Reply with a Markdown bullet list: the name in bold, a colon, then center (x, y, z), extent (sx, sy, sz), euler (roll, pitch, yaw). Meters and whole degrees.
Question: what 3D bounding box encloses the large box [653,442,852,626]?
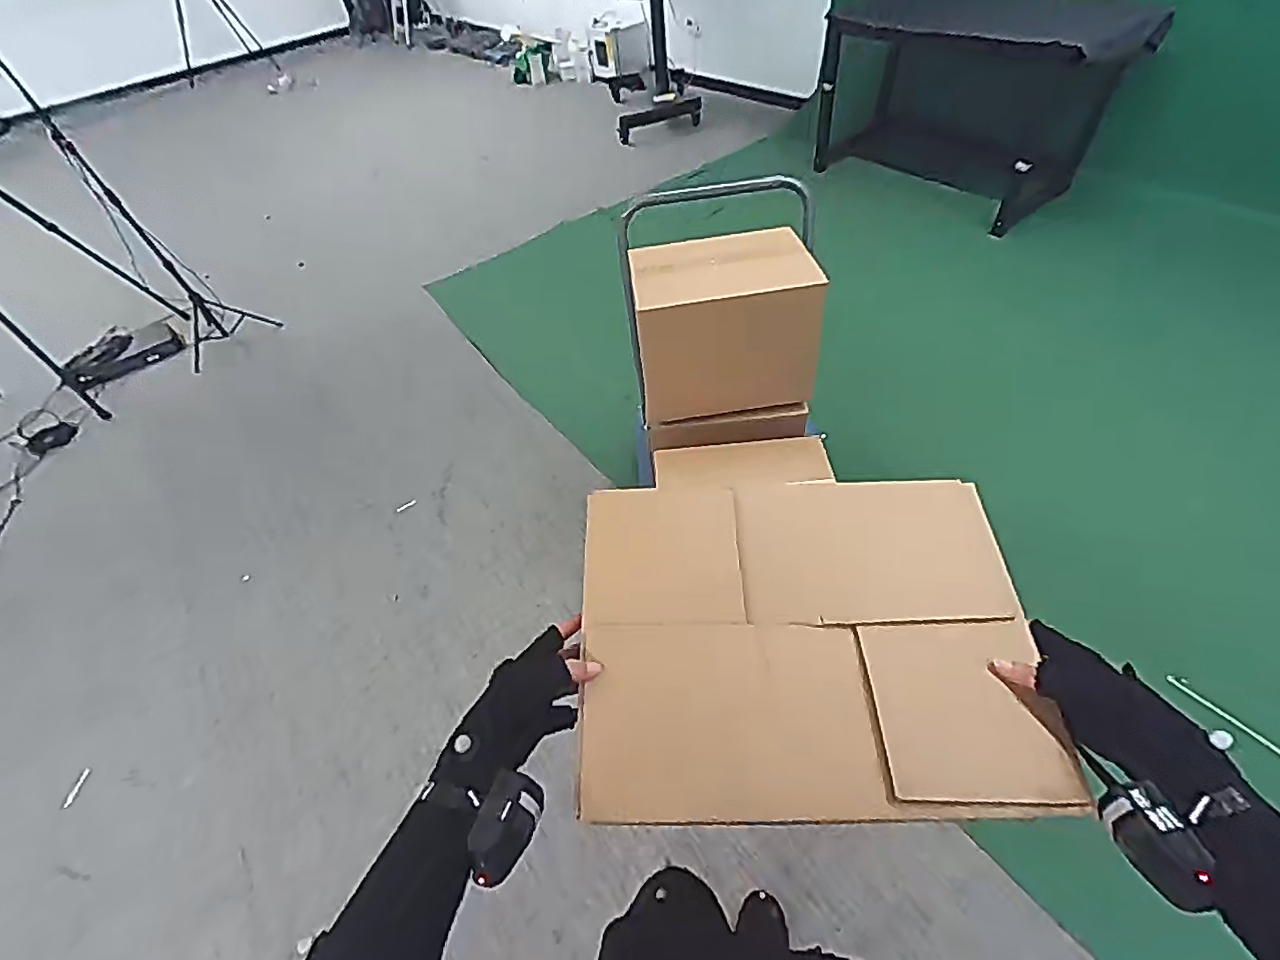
- **large box**: center (0.247, 0.138, 1.326), extent (0.408, 0.320, 0.320), euler (-4, 48, 3)
